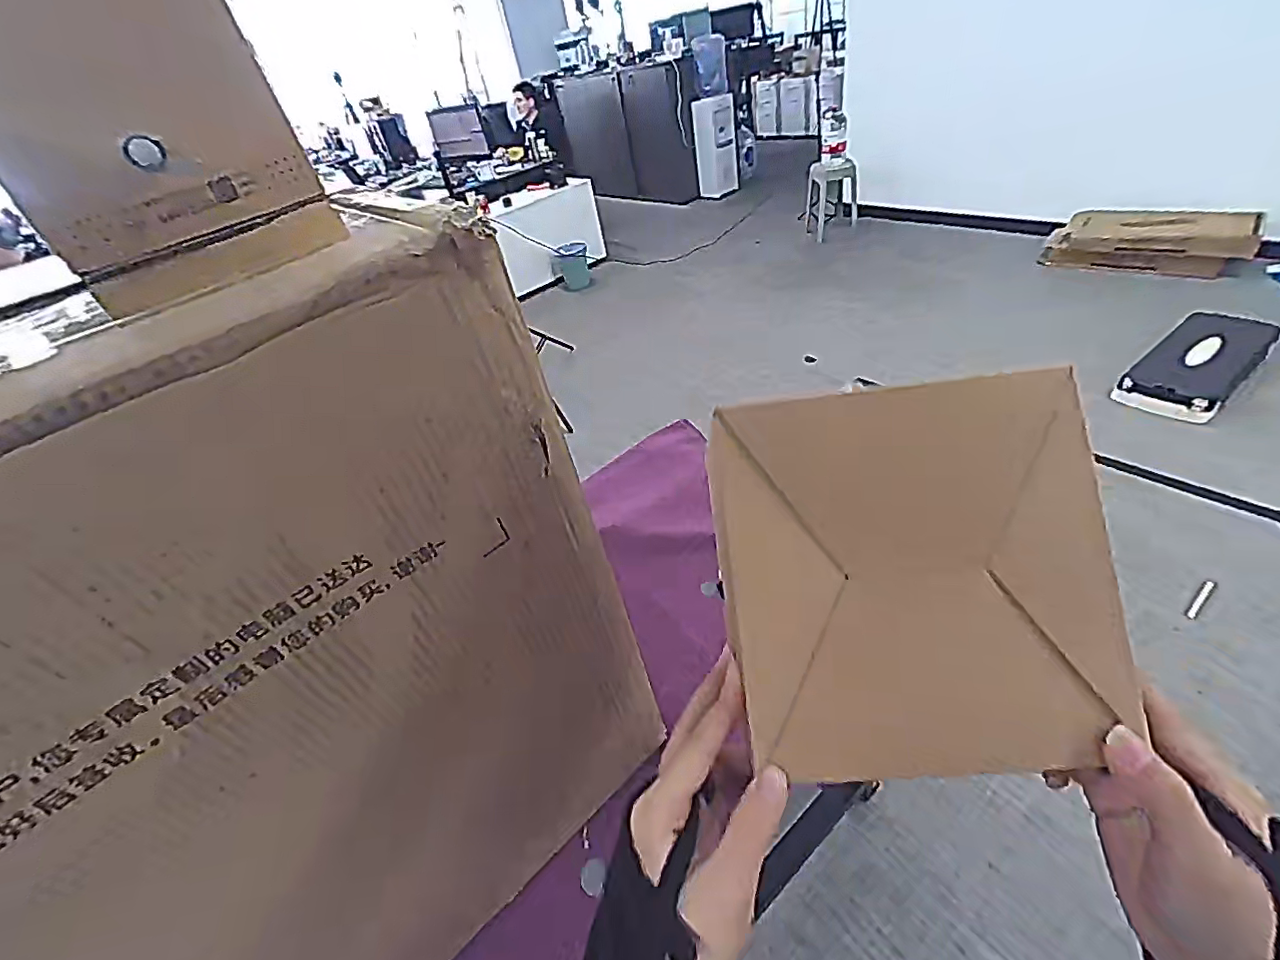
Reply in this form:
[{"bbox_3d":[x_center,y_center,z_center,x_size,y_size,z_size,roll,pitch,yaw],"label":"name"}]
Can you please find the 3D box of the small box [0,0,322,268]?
[{"bbox_3d":[-0.362,-0.266,0.379,0.168,0.176,0.179,-35,44,-22],"label":"small box"}]
